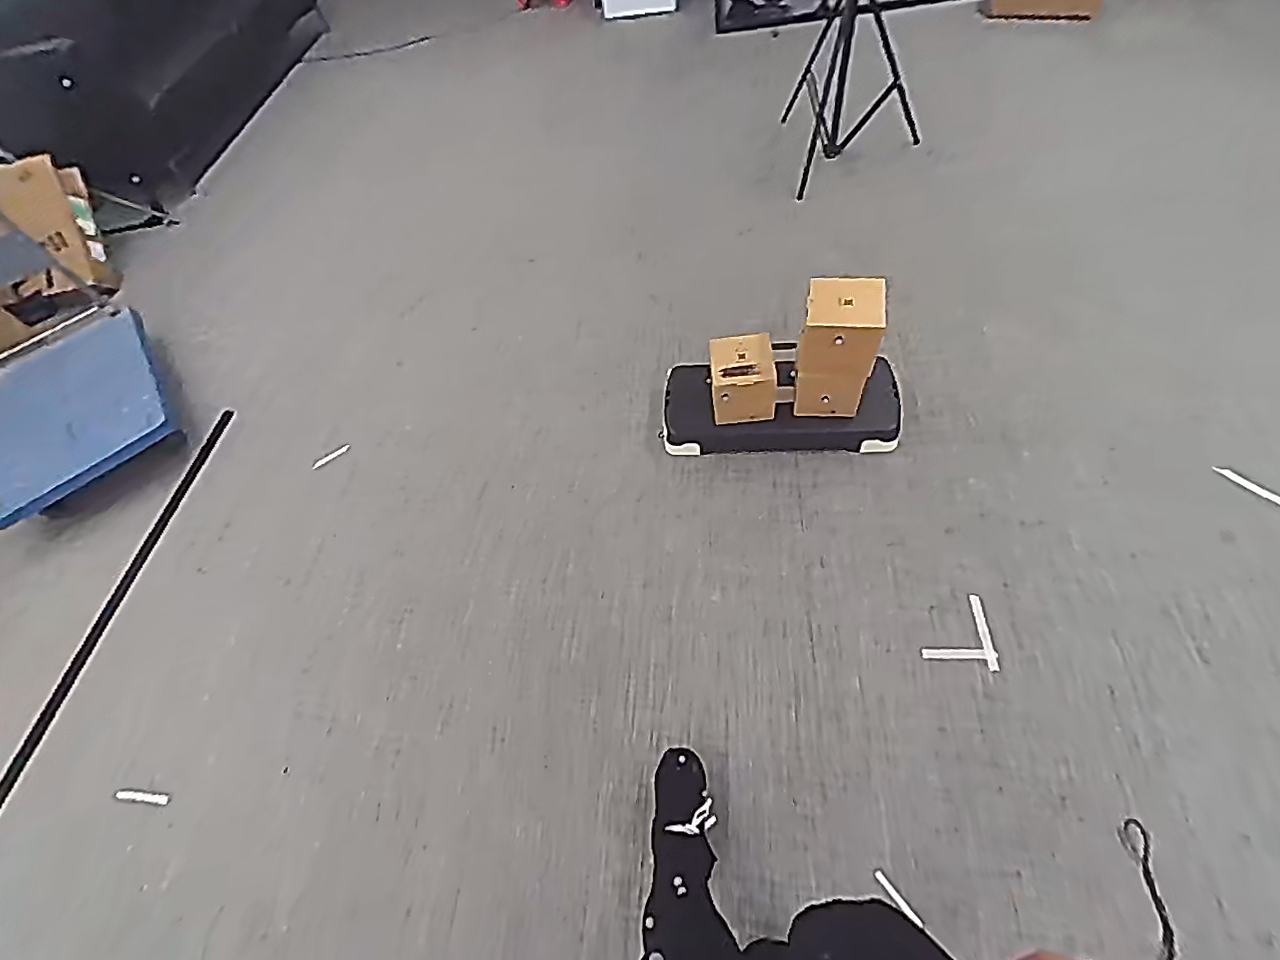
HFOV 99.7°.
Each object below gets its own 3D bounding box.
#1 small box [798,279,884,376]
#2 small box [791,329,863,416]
[{"bbox_3d":[0.493,-0.375,1.341,0.179,0.176,0.168,5,60,14],"label":"small box"},{"bbox_3d":[0.507,-0.291,1.480,0.168,0.176,0.179,3,59,12],"label":"small box"}]
